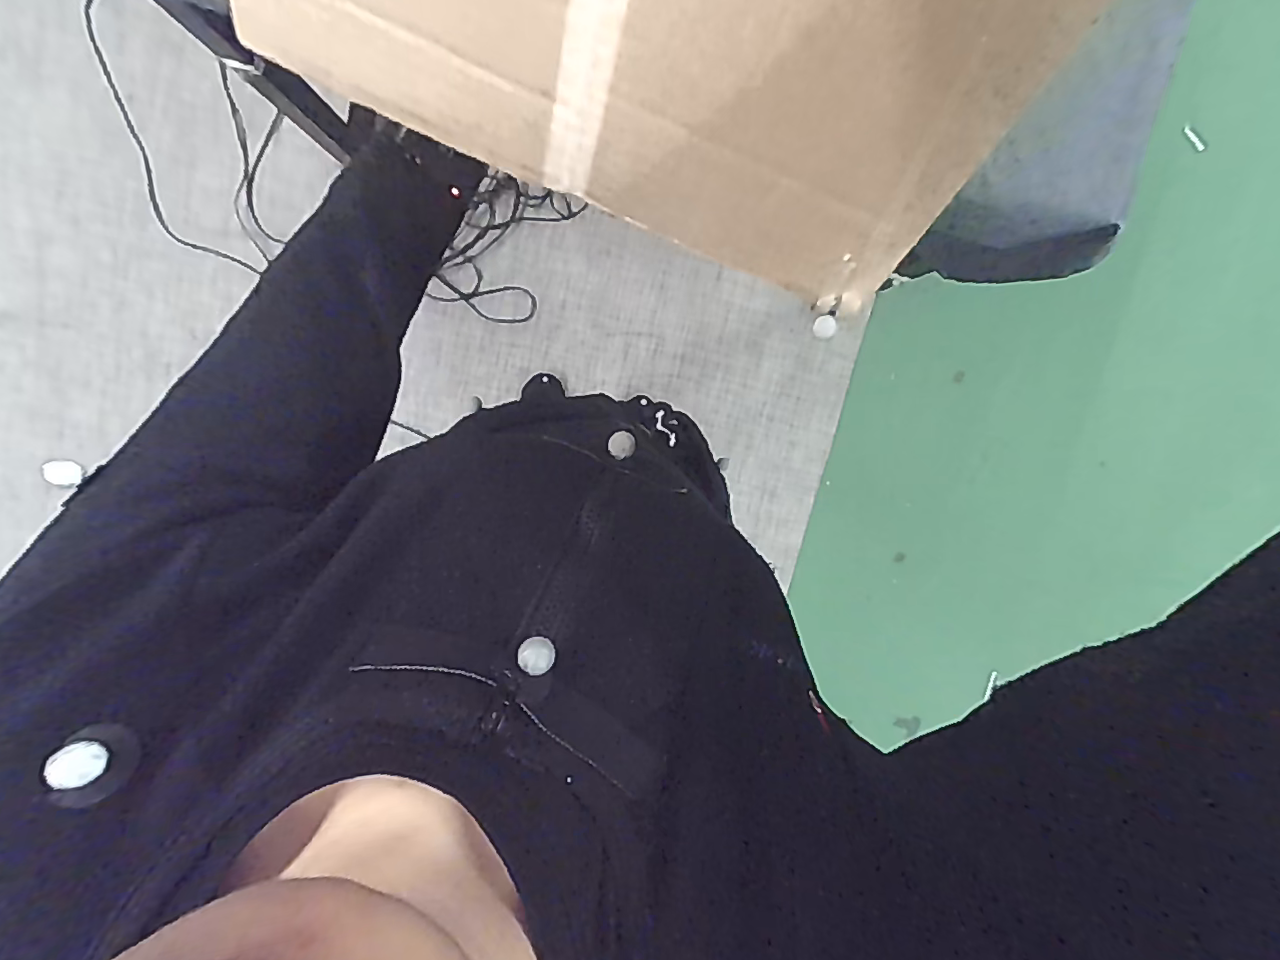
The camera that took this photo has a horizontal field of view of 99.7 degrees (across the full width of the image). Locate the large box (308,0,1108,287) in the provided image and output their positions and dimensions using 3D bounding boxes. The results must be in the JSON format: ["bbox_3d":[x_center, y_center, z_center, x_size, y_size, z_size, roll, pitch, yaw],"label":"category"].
[{"bbox_3d":[0.072,-0.374,0.203,0.320,0.408,0.320,21,55,-6],"label":"large box"}]
